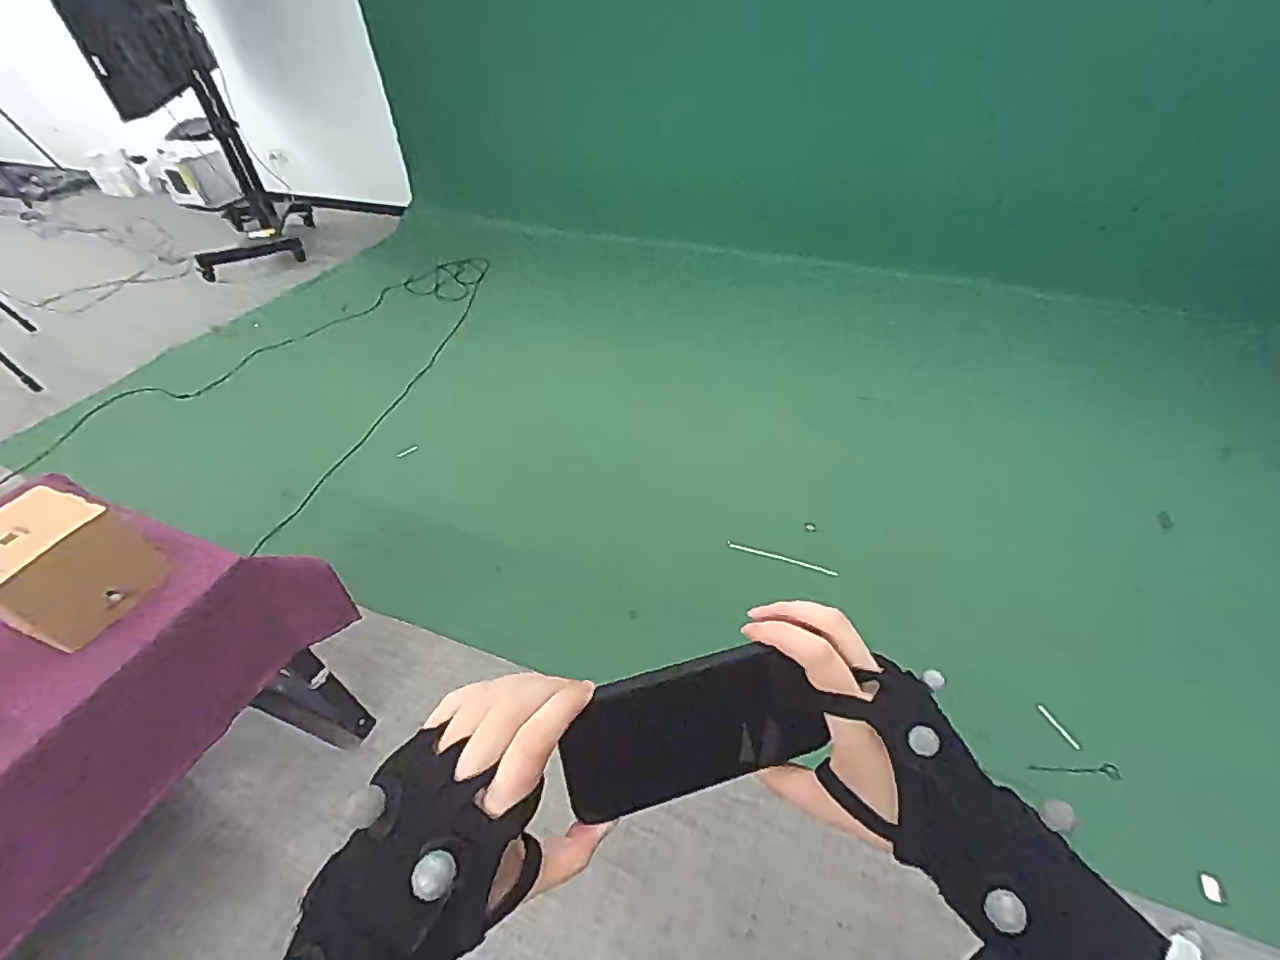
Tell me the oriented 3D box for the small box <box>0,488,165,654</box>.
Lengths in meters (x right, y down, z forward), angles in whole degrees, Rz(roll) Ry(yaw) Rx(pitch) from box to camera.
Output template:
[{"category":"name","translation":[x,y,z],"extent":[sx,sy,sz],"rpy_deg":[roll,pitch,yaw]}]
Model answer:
[{"category":"small box","translation":[-0.930,0.145,0.873],"extent":[0.168,0.176,0.179],"rpy_deg":[13,46,16]}]
